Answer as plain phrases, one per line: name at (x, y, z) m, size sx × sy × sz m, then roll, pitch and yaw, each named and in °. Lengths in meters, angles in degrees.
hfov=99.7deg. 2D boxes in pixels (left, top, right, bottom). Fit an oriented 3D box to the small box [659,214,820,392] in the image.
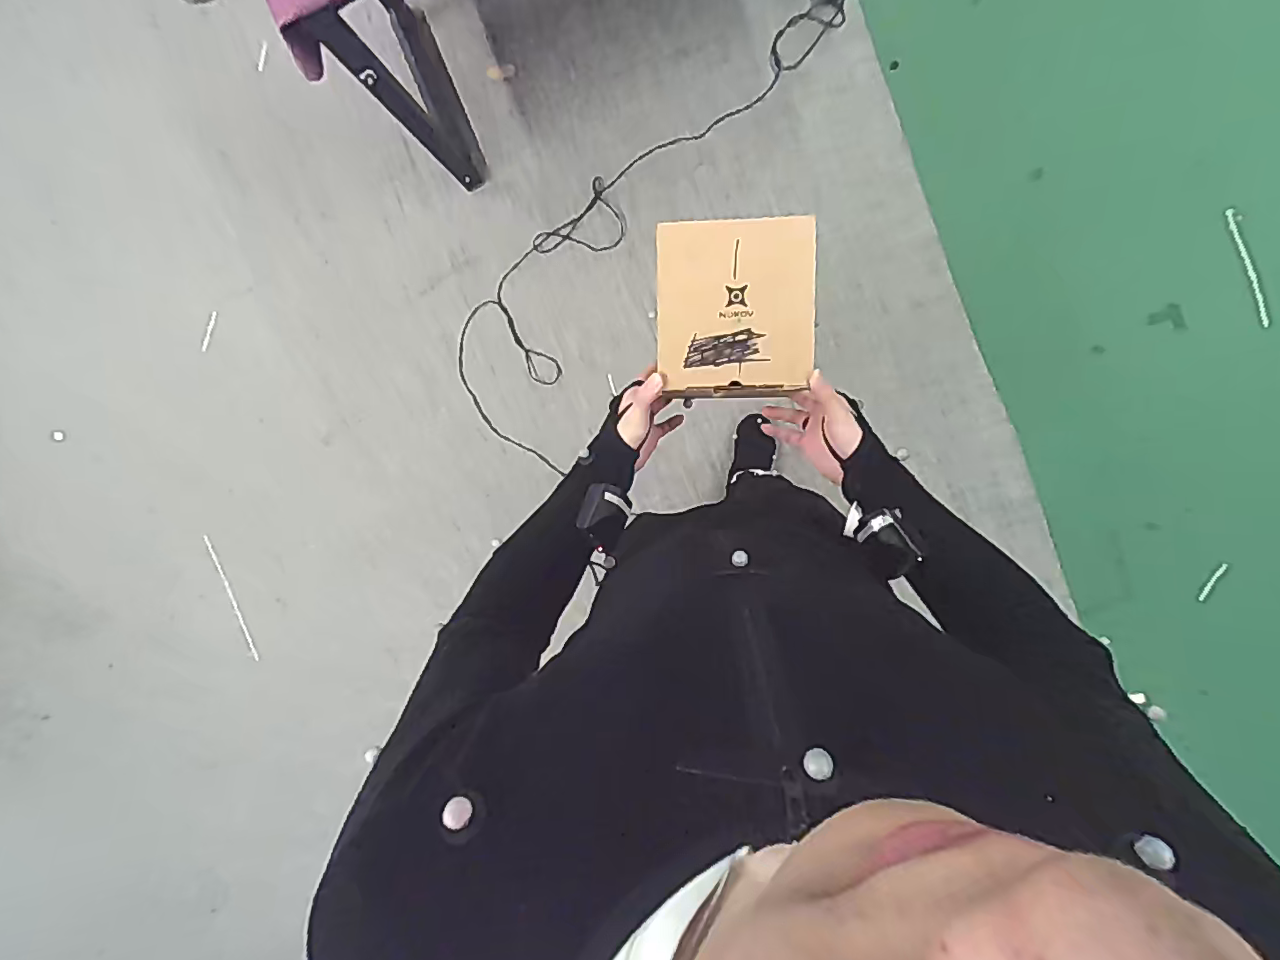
small box at (0.109, -0.195, 0.647) m, size 0.168 × 0.176 × 0.179 m, roll 0°, pitch 96°, yaw 4°
